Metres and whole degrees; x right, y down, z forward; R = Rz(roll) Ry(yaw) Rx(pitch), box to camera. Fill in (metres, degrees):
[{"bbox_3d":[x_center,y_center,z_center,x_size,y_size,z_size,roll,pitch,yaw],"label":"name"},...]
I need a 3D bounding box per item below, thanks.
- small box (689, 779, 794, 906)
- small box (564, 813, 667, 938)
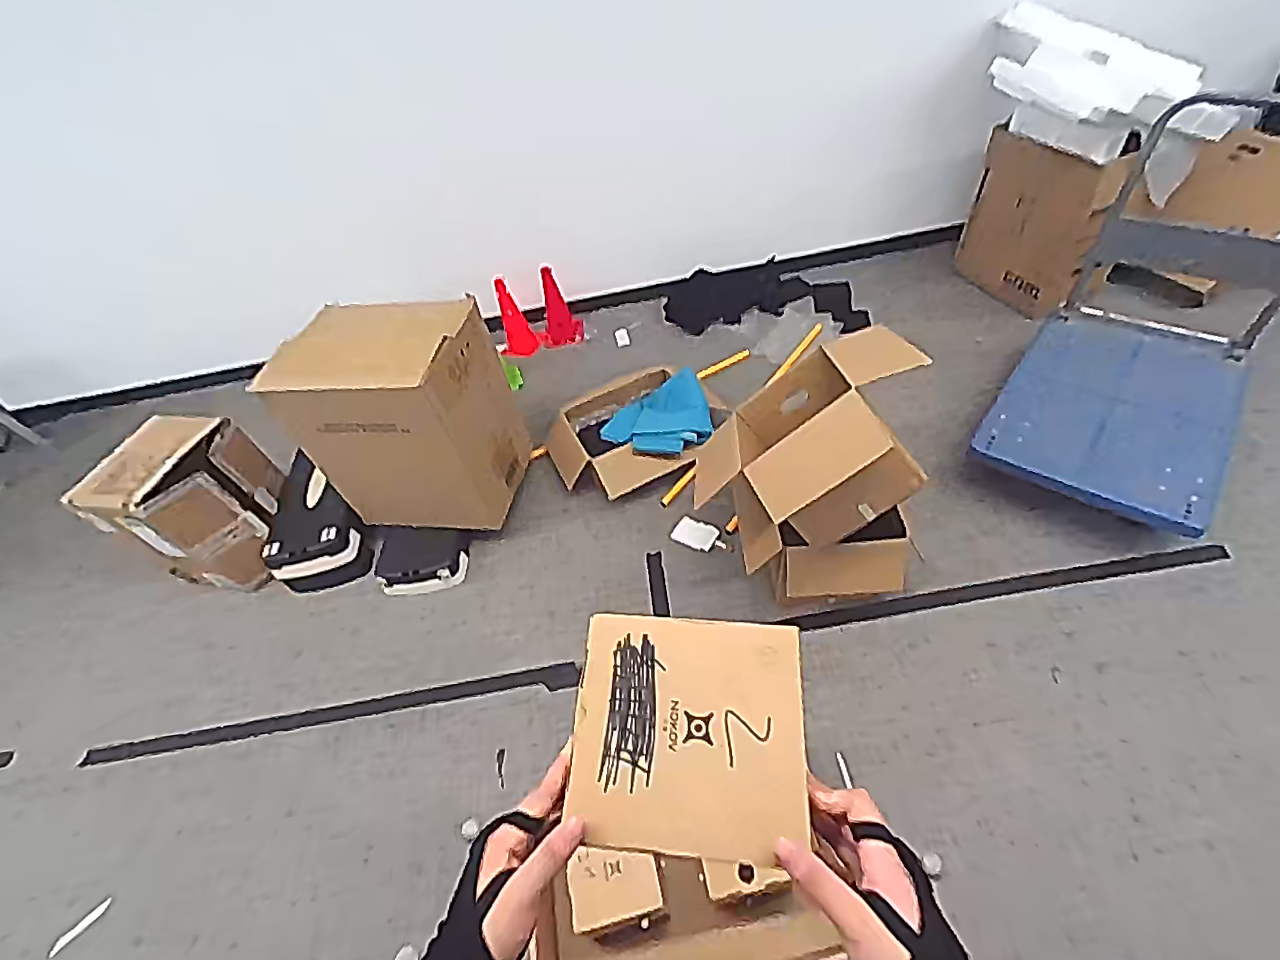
[{"bbox_3d":[0.206,0.754,1.124,0.168,0.176,0.179,-14,48,-1],"label":"small box"},{"bbox_3d":[-0.046,0.816,1.115,0.179,0.176,0.168,-15,47,-3],"label":"small box"}]
